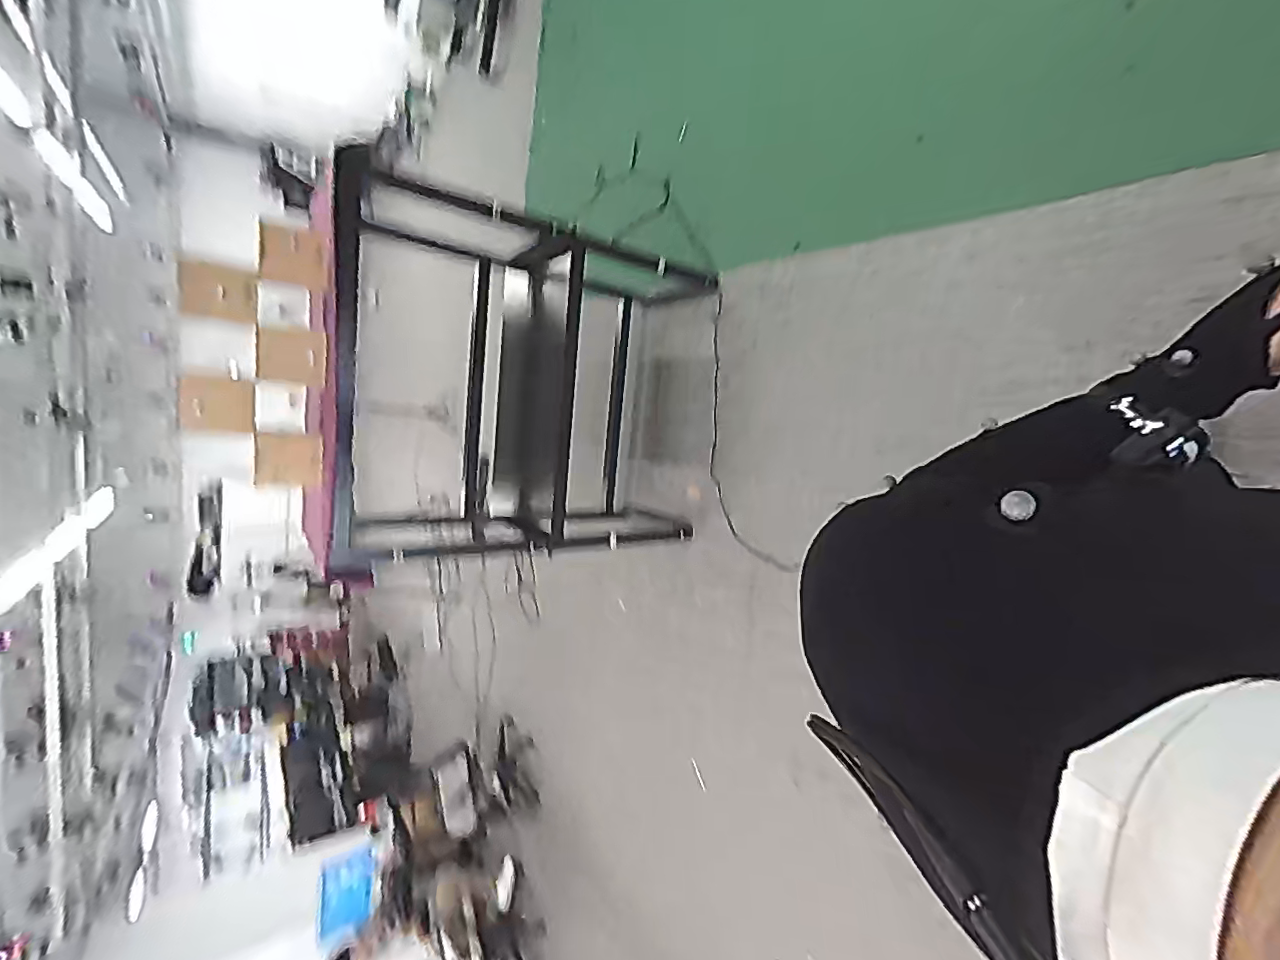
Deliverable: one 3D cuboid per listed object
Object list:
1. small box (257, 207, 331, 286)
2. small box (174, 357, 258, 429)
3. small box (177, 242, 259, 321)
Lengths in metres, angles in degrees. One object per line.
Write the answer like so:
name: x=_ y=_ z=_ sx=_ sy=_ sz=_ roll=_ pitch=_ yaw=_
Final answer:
small box: x=-0.984 y=-0.656 z=1.537 sx=0.179 sy=0.176 sz=0.168 roll=22 pitch=106 yaw=53
small box: x=-1.161 y=-0.237 z=1.488 sx=0.168 sy=0.176 sz=0.179 roll=18 pitch=102 yaw=53
small box: x=-1.133 y=-0.528 z=1.458 sx=0.179 sy=0.176 sz=0.168 roll=21 pitch=105 yaw=52
